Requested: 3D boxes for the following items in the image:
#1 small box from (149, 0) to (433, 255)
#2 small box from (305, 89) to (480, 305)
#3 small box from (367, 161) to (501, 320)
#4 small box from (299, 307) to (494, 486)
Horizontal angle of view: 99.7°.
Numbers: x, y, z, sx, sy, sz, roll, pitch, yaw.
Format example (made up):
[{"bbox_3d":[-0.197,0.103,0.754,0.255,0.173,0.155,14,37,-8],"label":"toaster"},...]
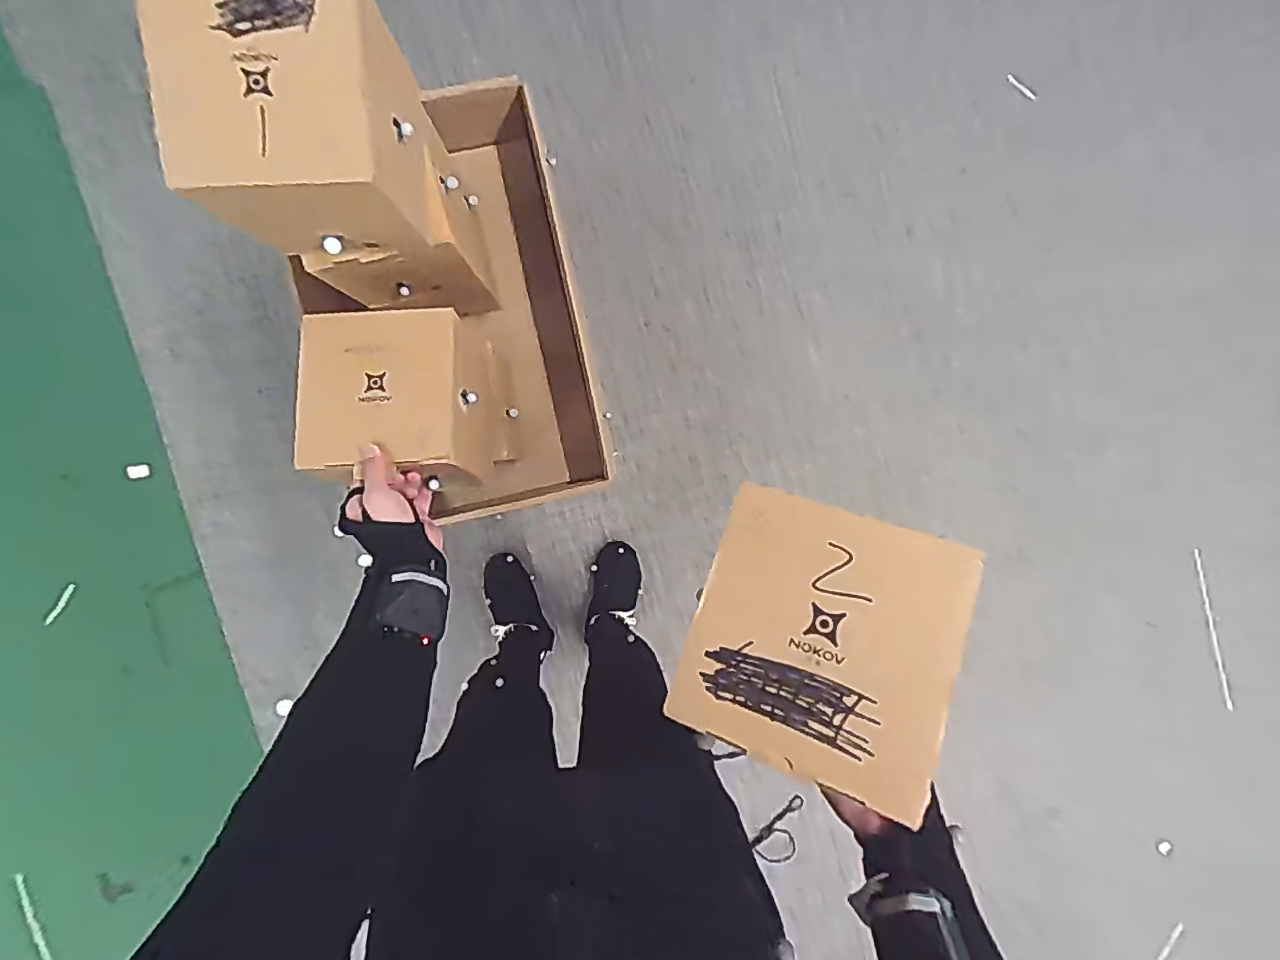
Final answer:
[{"bbox_3d":[-0.311,-0.334,0.519,0.168,0.176,0.179,-4,95,-4],"label":"small box"},{"bbox_3d":[-0.317,-0.342,0.683,0.168,0.176,0.179,-14,95,-3],"label":"small box"},{"bbox_3d":[-0.328,-0.355,0.844,0.168,0.176,0.179,-13,95,-3],"label":"small box"},{"bbox_3d":[-0.281,-0.089,0.662,0.168,0.176,0.179,-3,79,-1],"label":"small box"}]
